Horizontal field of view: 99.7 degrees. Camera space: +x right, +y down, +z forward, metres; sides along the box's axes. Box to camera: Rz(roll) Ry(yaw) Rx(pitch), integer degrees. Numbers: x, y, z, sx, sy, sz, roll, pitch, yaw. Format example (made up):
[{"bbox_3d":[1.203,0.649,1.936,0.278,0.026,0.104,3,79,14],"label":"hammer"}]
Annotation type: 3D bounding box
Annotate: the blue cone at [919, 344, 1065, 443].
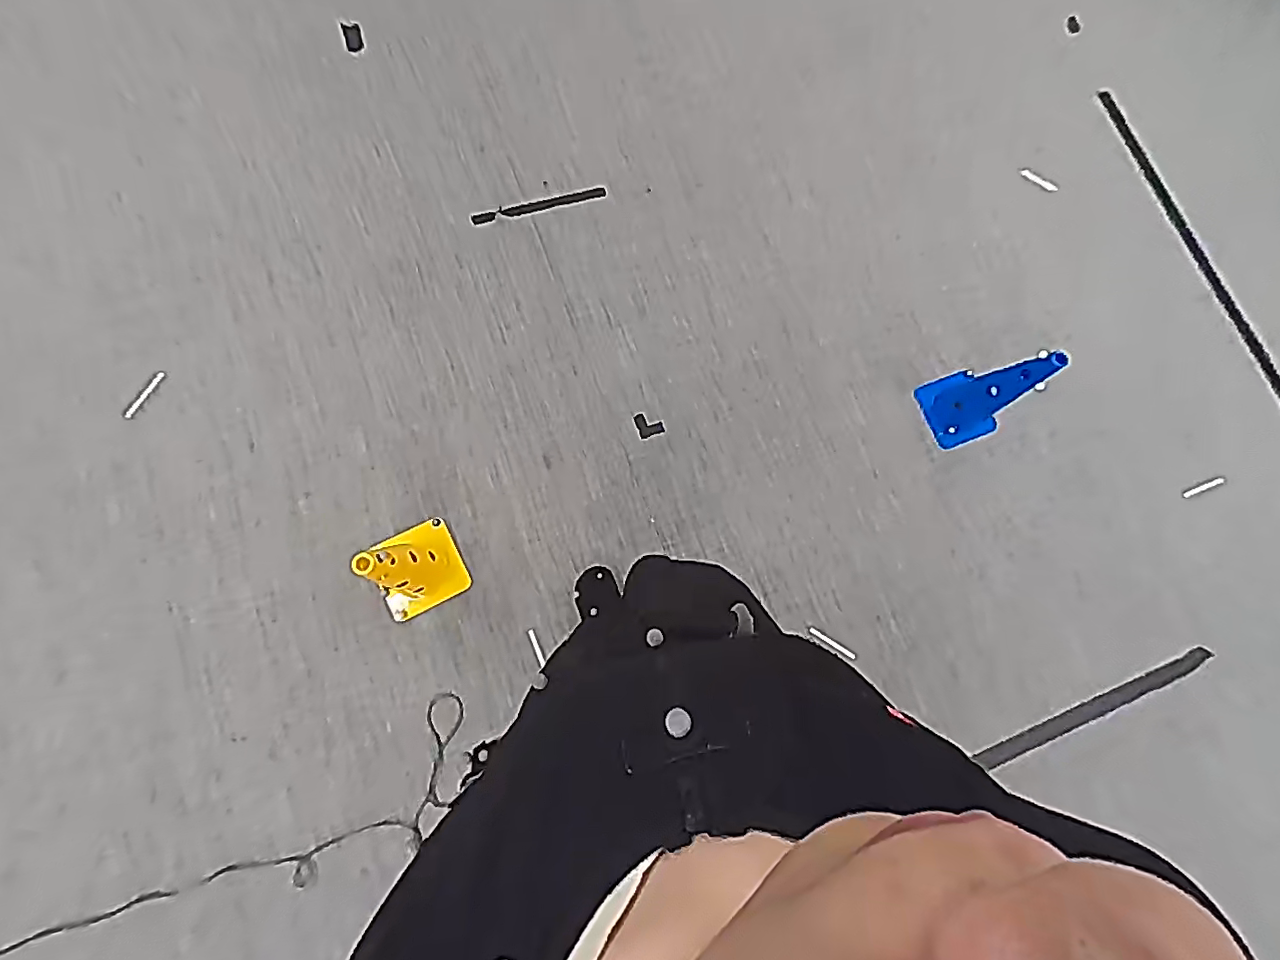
[{"bbox_3d":[0.932,-0.244,1.400,0.193,0.380,0.192,-19,80,-9],"label":"blue cone"}]
